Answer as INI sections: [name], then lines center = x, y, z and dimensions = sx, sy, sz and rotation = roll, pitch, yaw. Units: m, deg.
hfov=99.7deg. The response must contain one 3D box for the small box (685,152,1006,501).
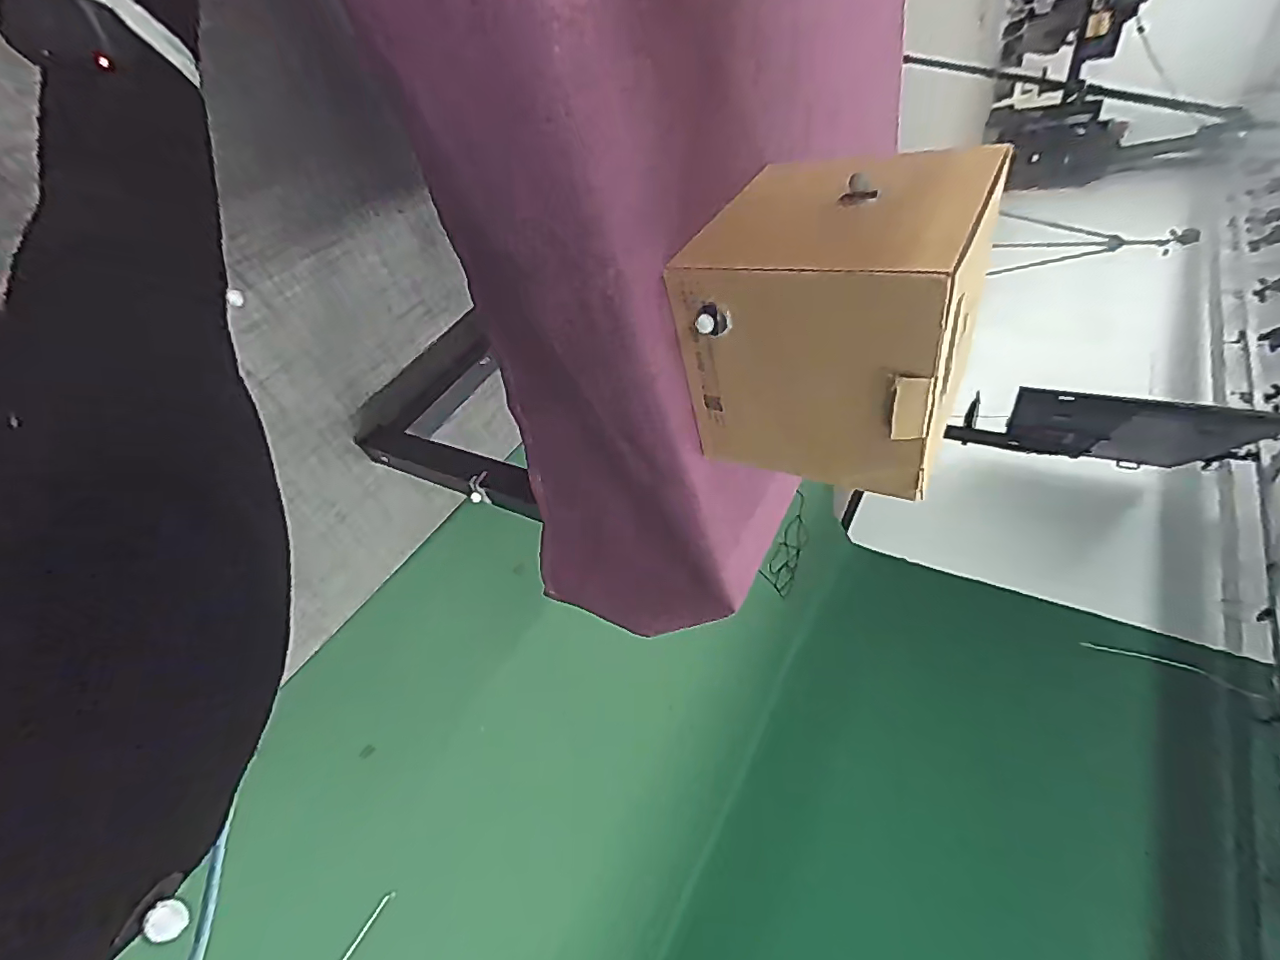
[small box]
center = 0.144, -0.115, 0.400
dimensions = 0.179, 0.176, 0.168
rotation = -53, 142, -31
